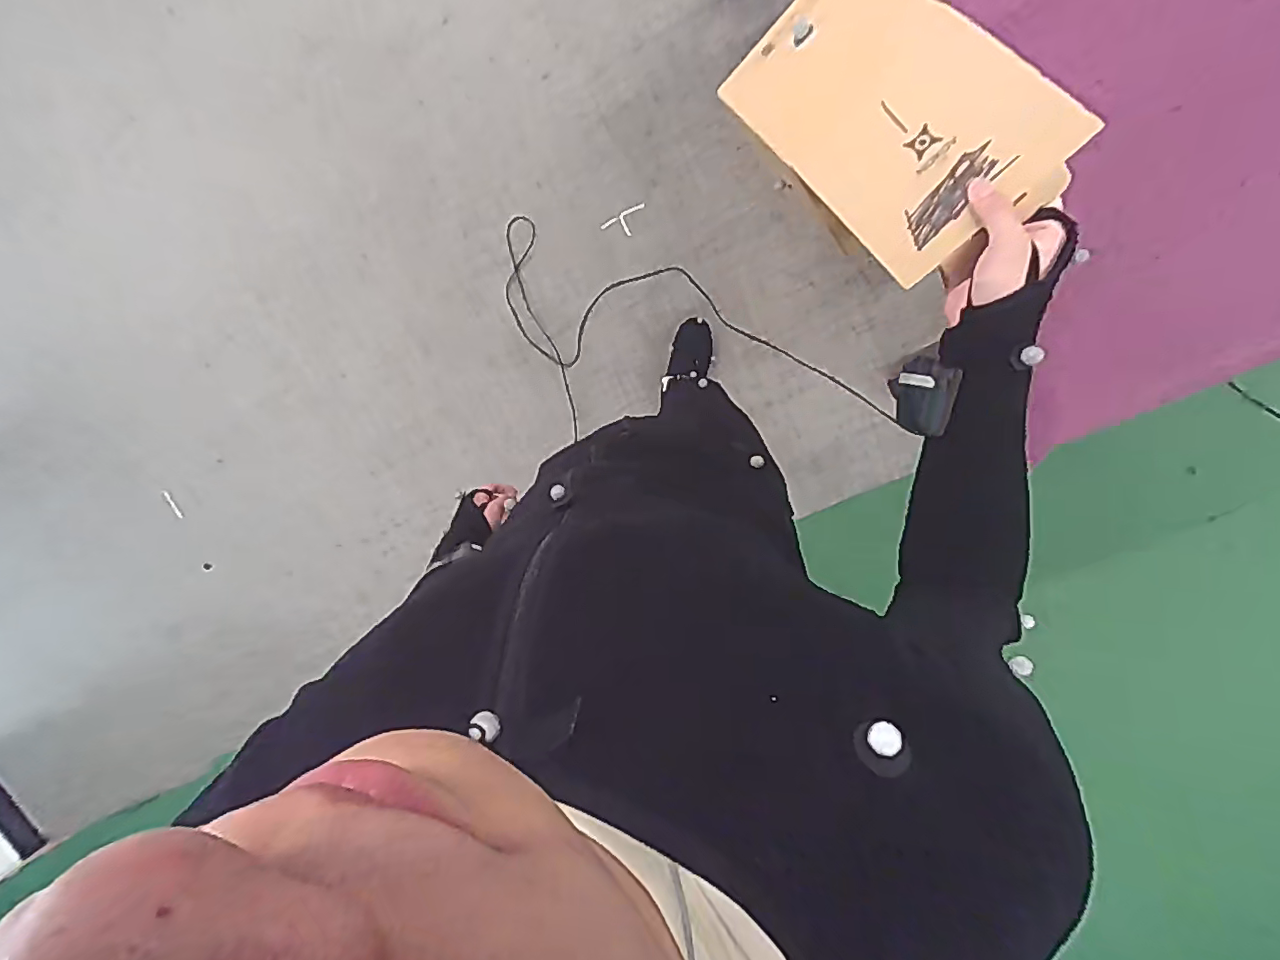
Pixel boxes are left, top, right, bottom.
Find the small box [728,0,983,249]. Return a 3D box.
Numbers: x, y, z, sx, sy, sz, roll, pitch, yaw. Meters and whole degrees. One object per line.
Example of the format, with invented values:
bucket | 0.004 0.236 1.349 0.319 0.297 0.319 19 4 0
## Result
small box | 0.226 -0.398 0.579 0.168 0.179 0.176 -40 57 24
